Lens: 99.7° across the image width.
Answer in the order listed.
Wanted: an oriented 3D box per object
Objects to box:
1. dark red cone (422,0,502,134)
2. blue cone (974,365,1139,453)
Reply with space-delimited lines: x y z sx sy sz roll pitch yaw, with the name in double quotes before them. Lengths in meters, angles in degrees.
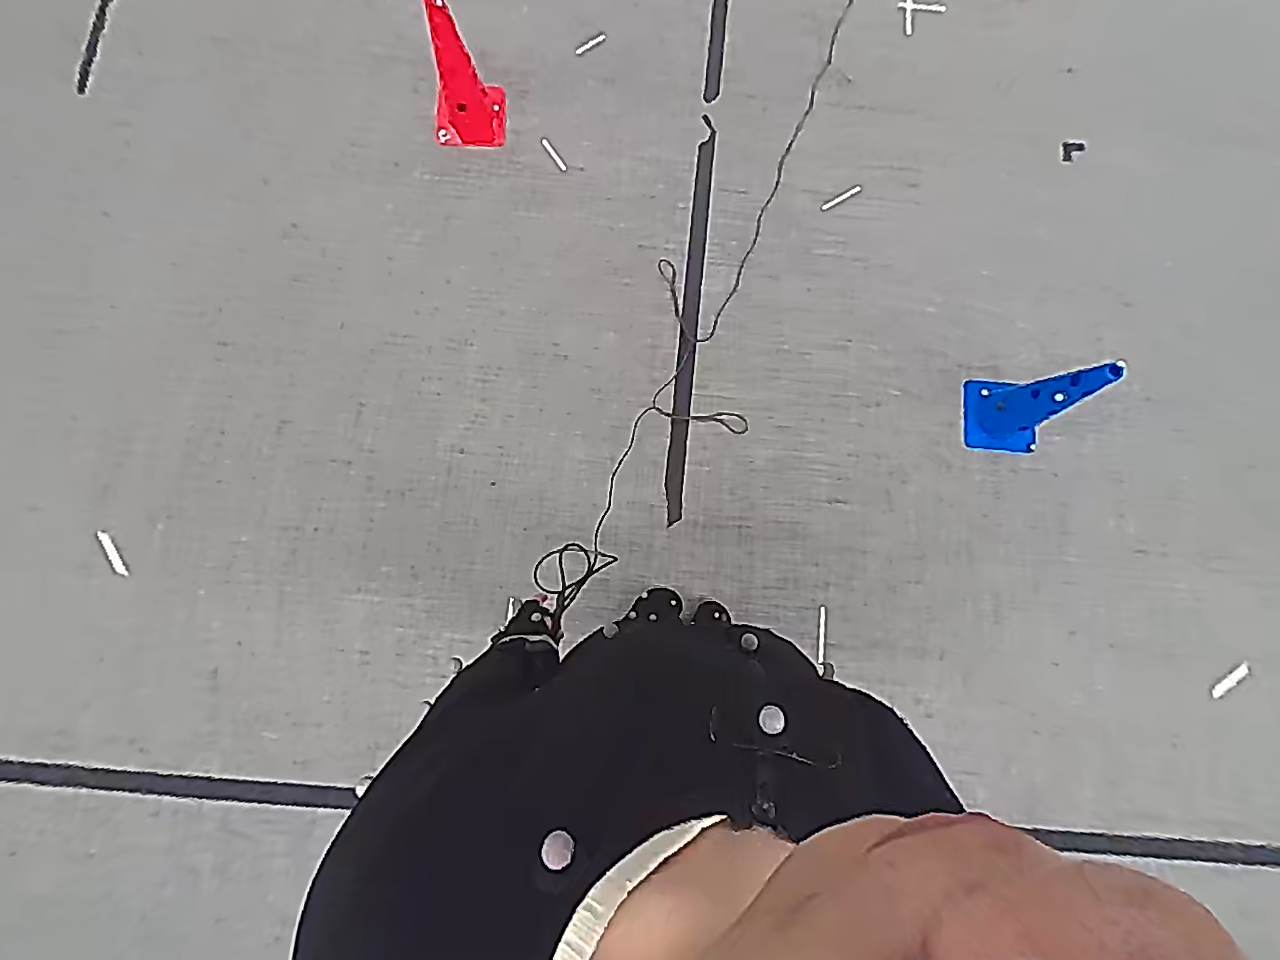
"dark red cone" -0.488 -1.106 1.388 0.201 0.394 0.202 -2 81 -4
"blue cone" 1.018 -0.197 1.323 0.192 0.380 0.193 7 80 -2
